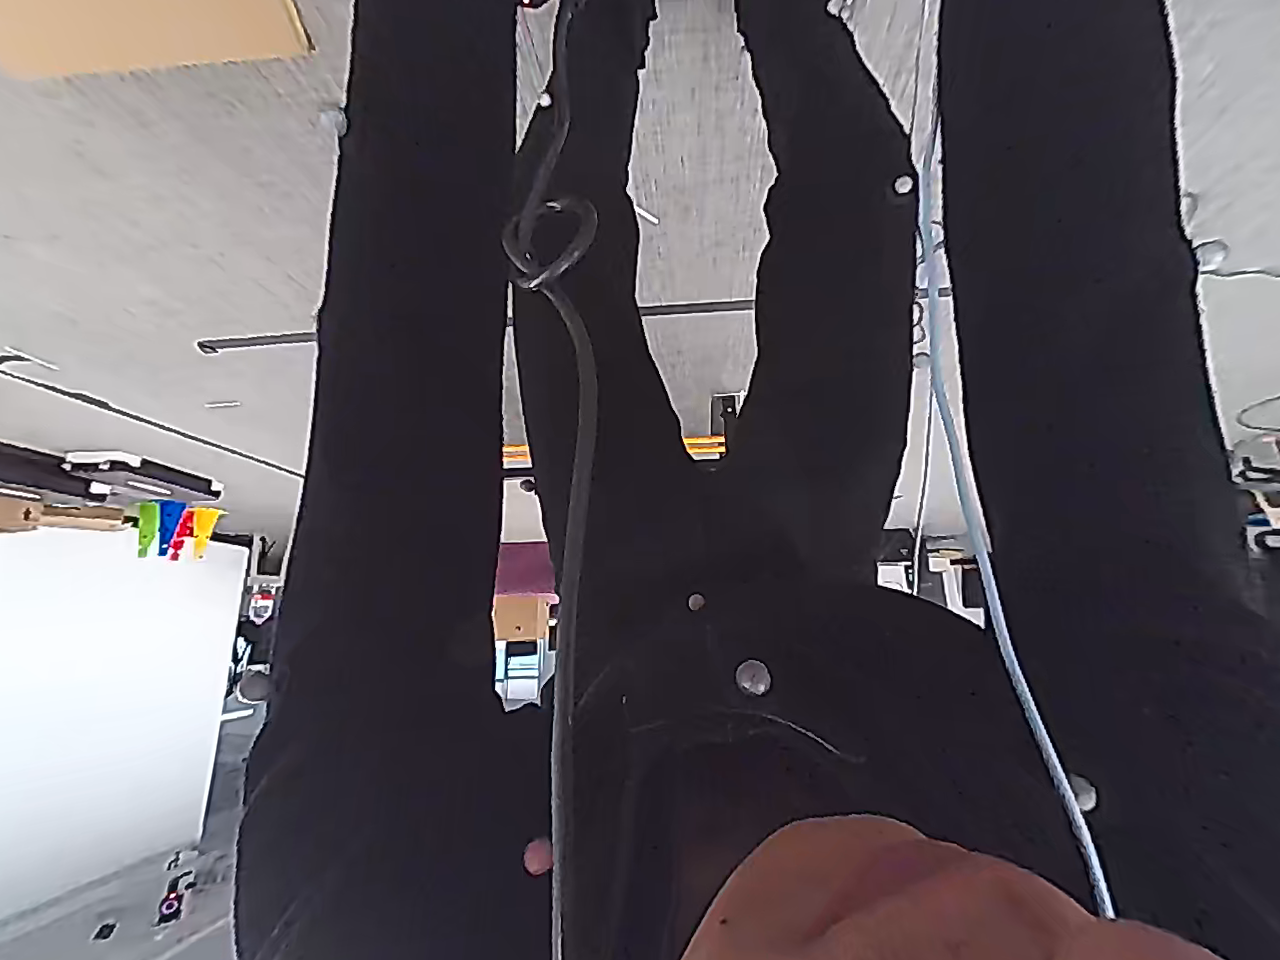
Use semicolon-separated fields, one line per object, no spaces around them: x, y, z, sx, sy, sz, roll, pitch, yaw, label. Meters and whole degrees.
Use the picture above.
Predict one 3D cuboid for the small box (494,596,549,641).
-0.469;0.550;2.154;0.179;0.176;0.168;-2;165;6;small box
